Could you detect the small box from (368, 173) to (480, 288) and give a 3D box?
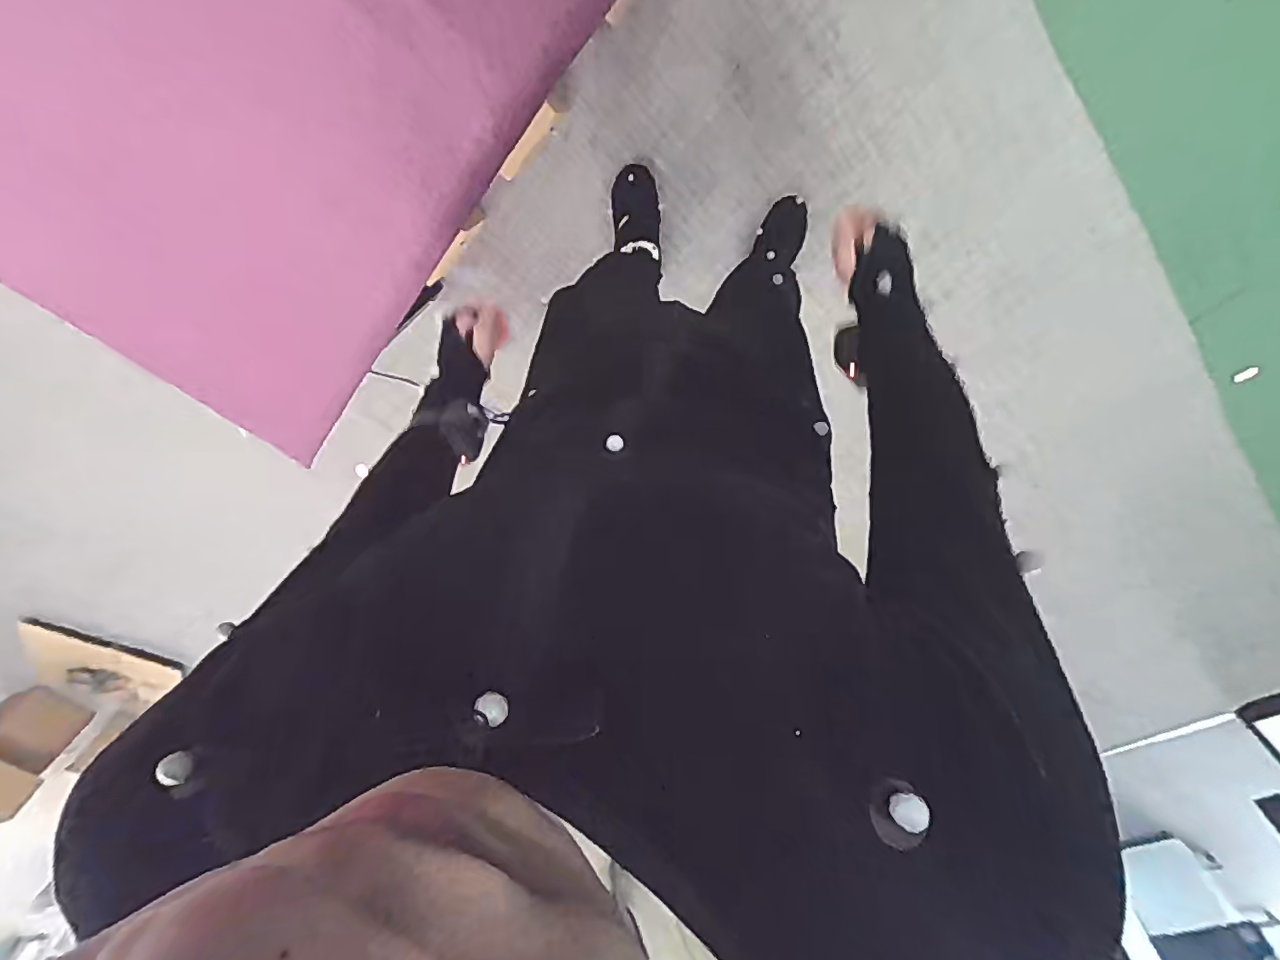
[{"bbox_3d":[-0.515,-0.609,1.315,0.168,0.176,0.179,38,120,-22],"label":"small box"}]

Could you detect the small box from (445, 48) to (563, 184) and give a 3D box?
[{"bbox_3d":[-0.283,-0.785,1.169,0.168,0.176,0.179,39,120,-22],"label":"small box"}]

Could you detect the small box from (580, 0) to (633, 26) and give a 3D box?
[{"bbox_3d":[-0.066,-0.990,1.001,0.168,0.176,0.179,35,121,-21],"label":"small box"}]
